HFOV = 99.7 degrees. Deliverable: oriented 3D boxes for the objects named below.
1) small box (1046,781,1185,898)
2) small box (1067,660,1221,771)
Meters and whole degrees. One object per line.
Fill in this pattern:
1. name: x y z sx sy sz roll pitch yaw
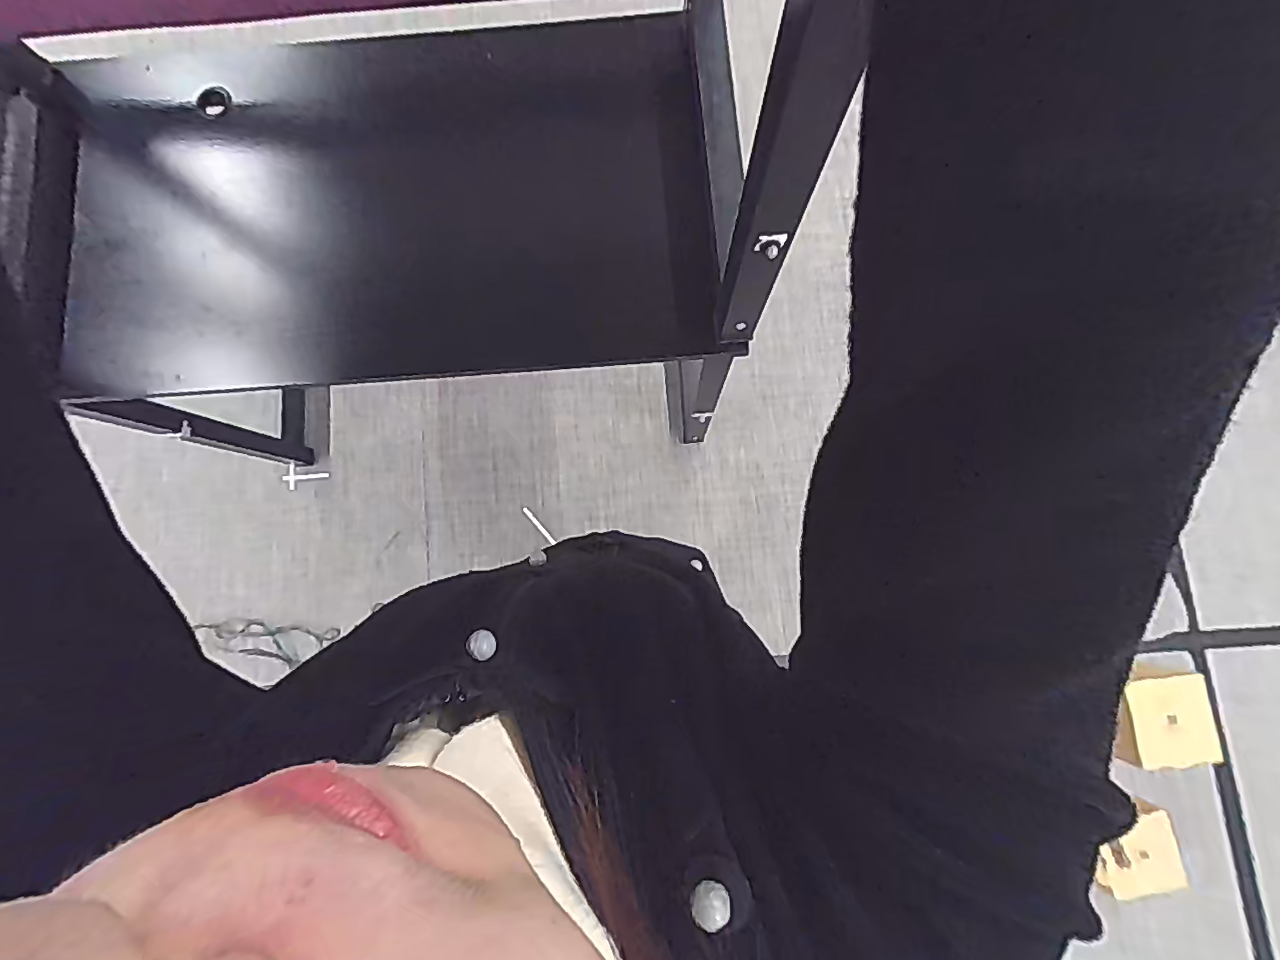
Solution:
1. small box: 1.130 0.859 1.306 0.179 0.176 0.168 -11 83 0
2. small box: 1.088 0.507 1.183 0.168 0.176 0.179 -6 82 1
